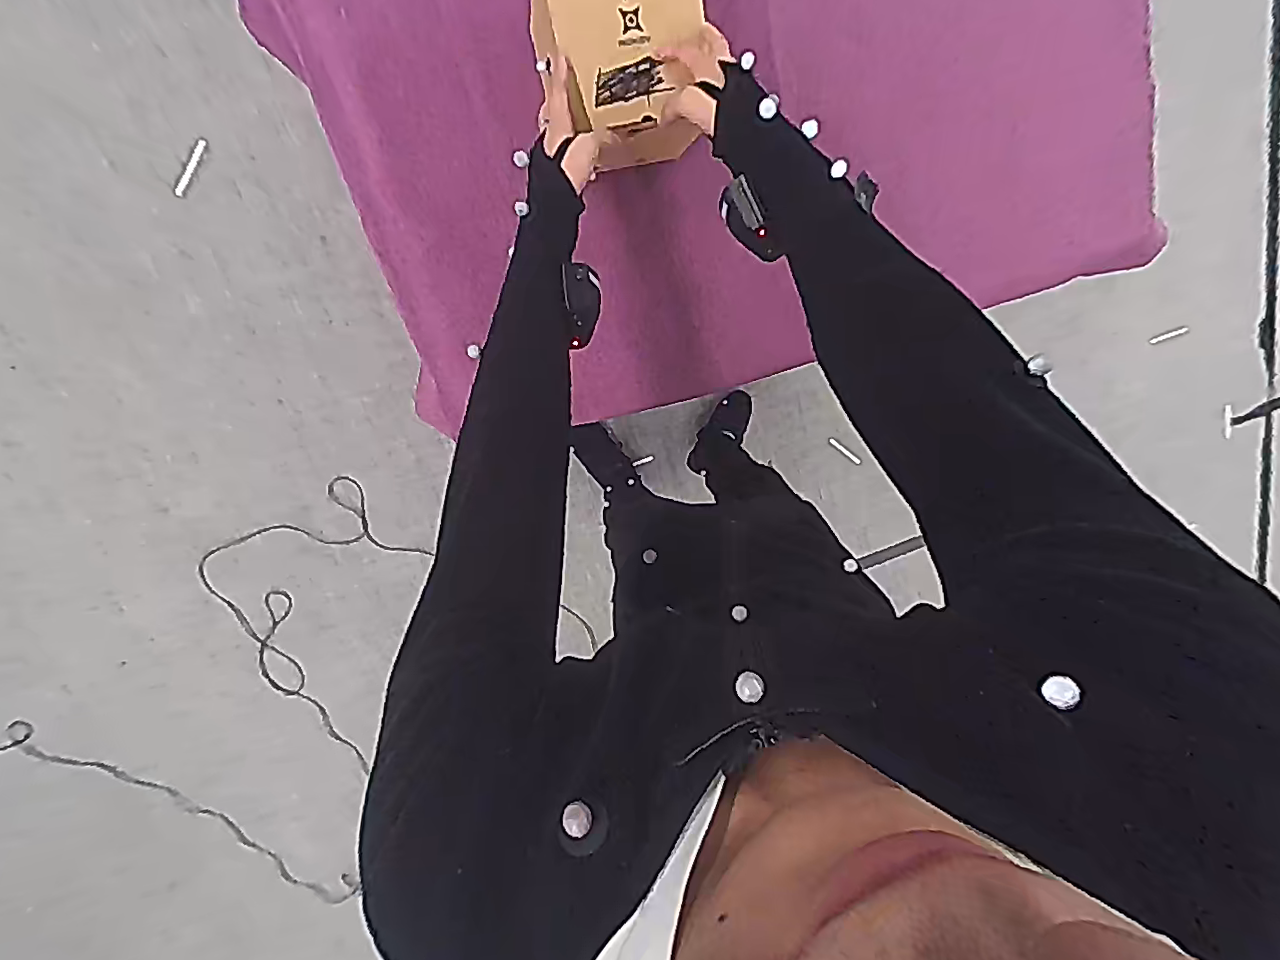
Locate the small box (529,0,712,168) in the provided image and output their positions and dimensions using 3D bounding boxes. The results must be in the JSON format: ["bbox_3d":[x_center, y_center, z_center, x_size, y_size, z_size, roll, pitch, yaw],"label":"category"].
[{"bbox_3d":[-0.030,-0.492,0.641,0.168,0.176,0.179,-16,107,-8],"label":"small box"}]
